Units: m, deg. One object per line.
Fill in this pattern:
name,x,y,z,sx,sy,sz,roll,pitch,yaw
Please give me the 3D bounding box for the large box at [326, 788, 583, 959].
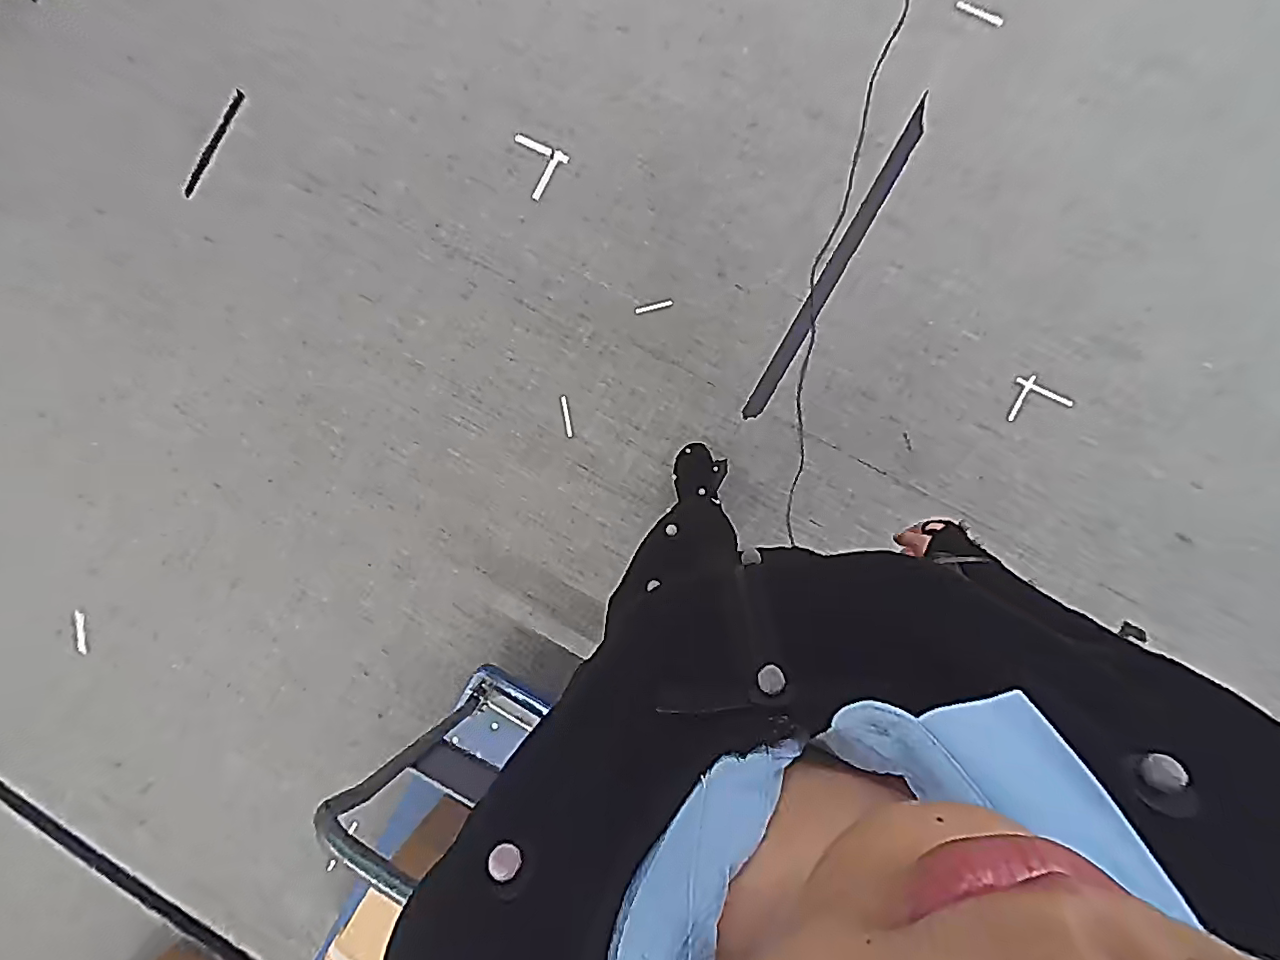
large box,-0.386,0.963,1.155,0.408,0.320,0.320,30,89,5
